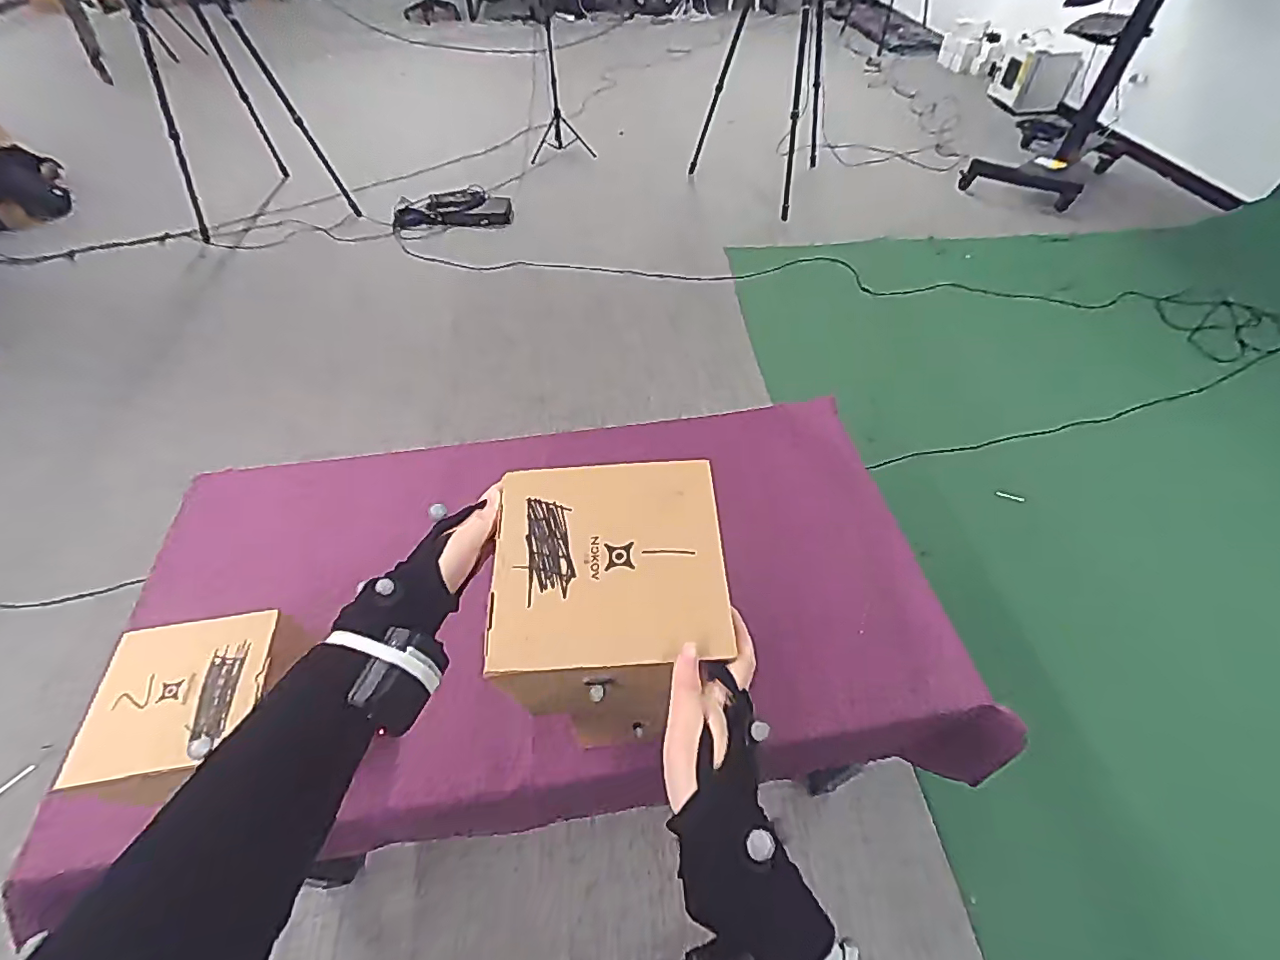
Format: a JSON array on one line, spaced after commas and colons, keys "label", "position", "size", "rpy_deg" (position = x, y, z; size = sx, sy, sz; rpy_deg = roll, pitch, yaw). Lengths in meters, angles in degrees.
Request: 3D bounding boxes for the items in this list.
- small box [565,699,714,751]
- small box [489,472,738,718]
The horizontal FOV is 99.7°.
[{"label": "small box", "position": [-0.007, 0.232, 0.690], "size": [0.168, 0.176, 0.179], "rpy_deg": [-4, 50, -4]}, {"label": "small box", "position": [-0.018, 0.109, 0.481], "size": [0.179, 0.176, 0.168], "rpy_deg": [-3, 57, 0]}]
